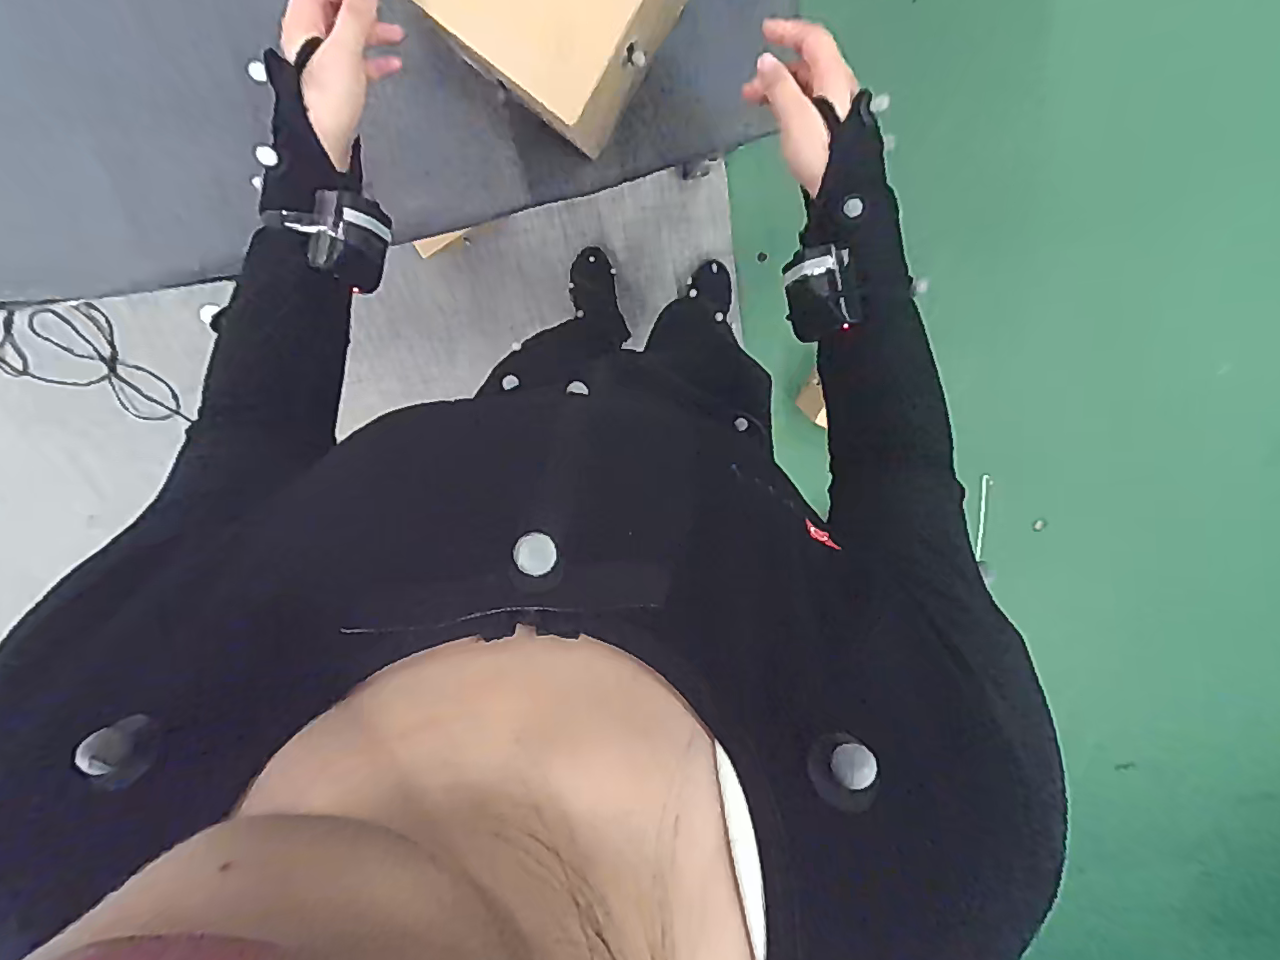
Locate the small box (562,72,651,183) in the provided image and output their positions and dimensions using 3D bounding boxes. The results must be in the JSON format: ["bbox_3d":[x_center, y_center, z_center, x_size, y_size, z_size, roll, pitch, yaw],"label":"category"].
[{"bbox_3d":[-0.070,-0.723,1.123,0.179,0.176,0.168,-5,115,0],"label":"small box"}]

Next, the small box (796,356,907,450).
[{"bbox_3d":[0.524,-0.202,1.373,0.179,0.176,0.168,22,112,-10],"label":"small box"}]

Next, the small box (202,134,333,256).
[{"bbox_3d":[-0.796,-0.606,1.168,0.168,0.176,0.179,20,112,-10],"label":"small box"}]

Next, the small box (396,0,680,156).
[{"bbox_3d":[-0.070,-0.413,0.460,0.168,0.176,0.179,34,110,-13],"label":"small box"}]
